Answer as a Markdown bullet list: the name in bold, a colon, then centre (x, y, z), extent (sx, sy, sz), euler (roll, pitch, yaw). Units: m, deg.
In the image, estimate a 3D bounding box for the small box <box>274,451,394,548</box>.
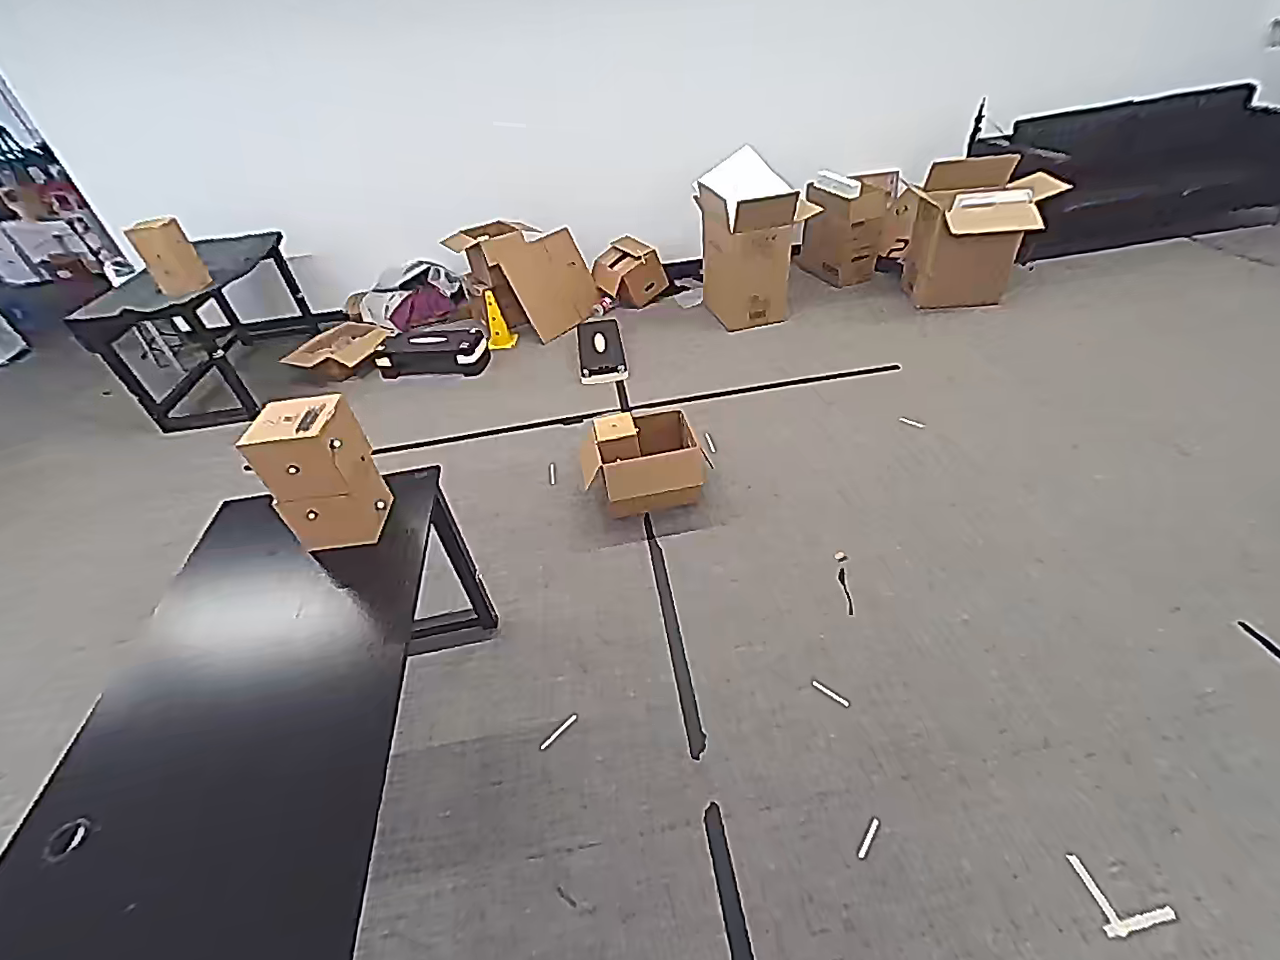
- **small box**: centre (-0.746, 0.052, 1.340), extent (0.179, 0.176, 0.168), euler (-7, 42, 0)
